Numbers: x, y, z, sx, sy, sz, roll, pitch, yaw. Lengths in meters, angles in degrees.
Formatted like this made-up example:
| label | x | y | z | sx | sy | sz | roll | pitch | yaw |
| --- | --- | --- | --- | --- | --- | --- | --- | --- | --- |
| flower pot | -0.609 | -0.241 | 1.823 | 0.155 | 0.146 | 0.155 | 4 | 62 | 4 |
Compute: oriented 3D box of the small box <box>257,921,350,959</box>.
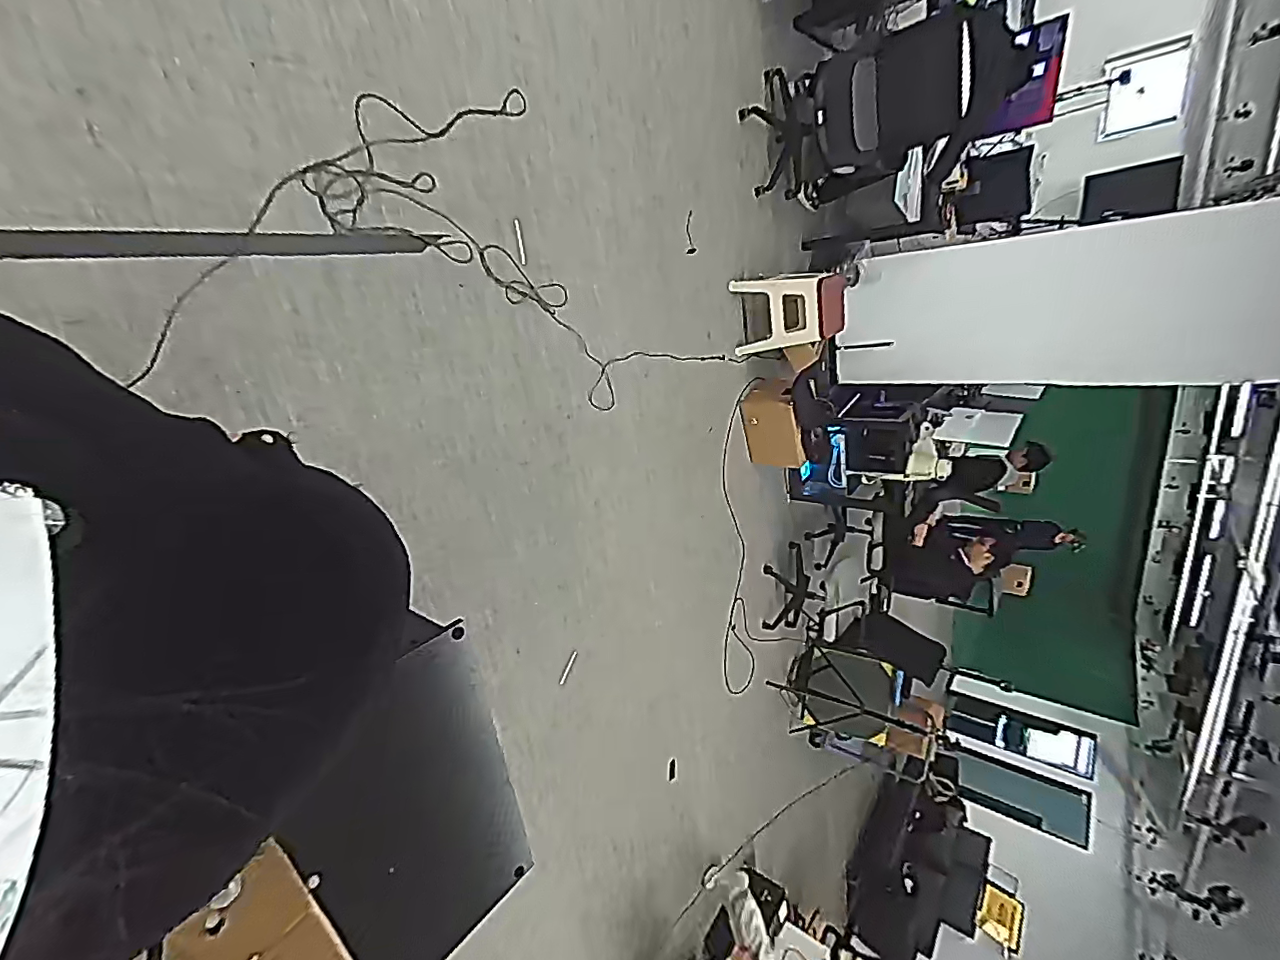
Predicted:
| label | x | y | z | sx | sy | sz | roll | pitch | yaw |
| --- | --- | --- | --- | --- | --- | --- | --- | --- | --- |
| small box | -0.355 | 0.620 | 0.559 | 0.168 | 0.176 | 0.179 | -35 | 122 | -42 |

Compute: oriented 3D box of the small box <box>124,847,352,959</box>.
| label | x | y | z | sx | sy | sz | roll | pitch | yaw |
| --- | --- | --- | --- | --- | --- | --- | --- | --- | --- |
| small box | -0.482 | 0.598 | 0.663 | 0.168 | 0.176 | 0.179 | -33 | 120 | -43 |
